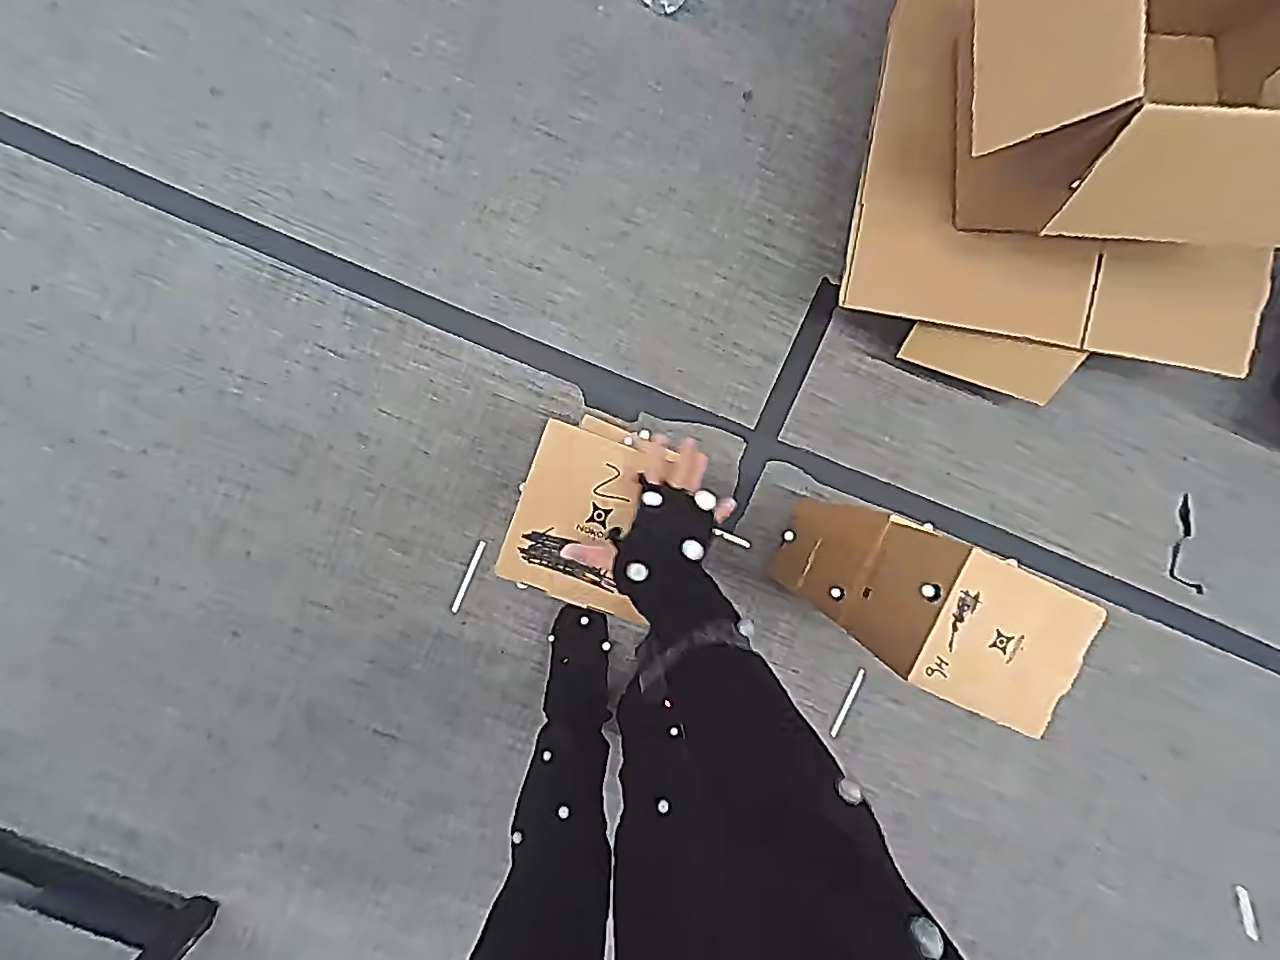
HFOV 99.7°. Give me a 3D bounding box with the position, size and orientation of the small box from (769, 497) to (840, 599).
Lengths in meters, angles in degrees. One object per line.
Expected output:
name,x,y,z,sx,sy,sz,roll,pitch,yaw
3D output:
small box,0.367,0.142,0.993,0.179,0.176,0.168,27,92,-5

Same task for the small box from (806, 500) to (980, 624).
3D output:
small box,0.381,0.142,0.830,0.168,0.176,0.179,23,93,-5

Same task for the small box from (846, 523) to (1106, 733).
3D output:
small box,0.396,0.167,0.669,0.179,0.176,0.168,25,94,-6

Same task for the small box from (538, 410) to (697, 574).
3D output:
small box,-0.032,0.013,0.800,0.168,0.176,0.179,23,91,-4
